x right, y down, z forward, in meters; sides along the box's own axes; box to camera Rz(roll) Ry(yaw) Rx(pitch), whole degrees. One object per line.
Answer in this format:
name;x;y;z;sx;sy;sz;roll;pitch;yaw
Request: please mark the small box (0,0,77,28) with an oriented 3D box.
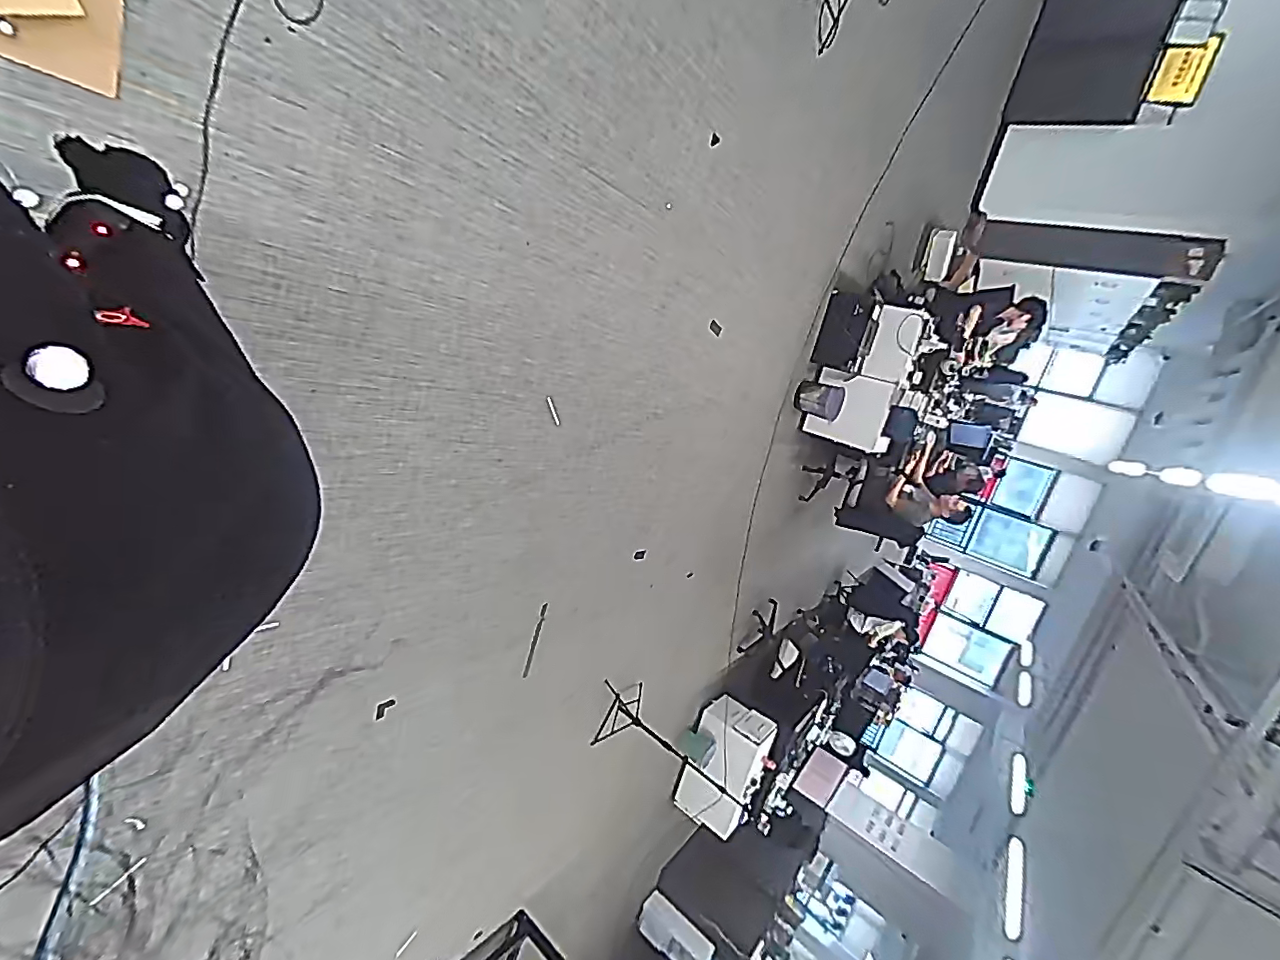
small box;-0.966;-0.752;0.759;0.179;0.176;0.168;-36;136;-35
